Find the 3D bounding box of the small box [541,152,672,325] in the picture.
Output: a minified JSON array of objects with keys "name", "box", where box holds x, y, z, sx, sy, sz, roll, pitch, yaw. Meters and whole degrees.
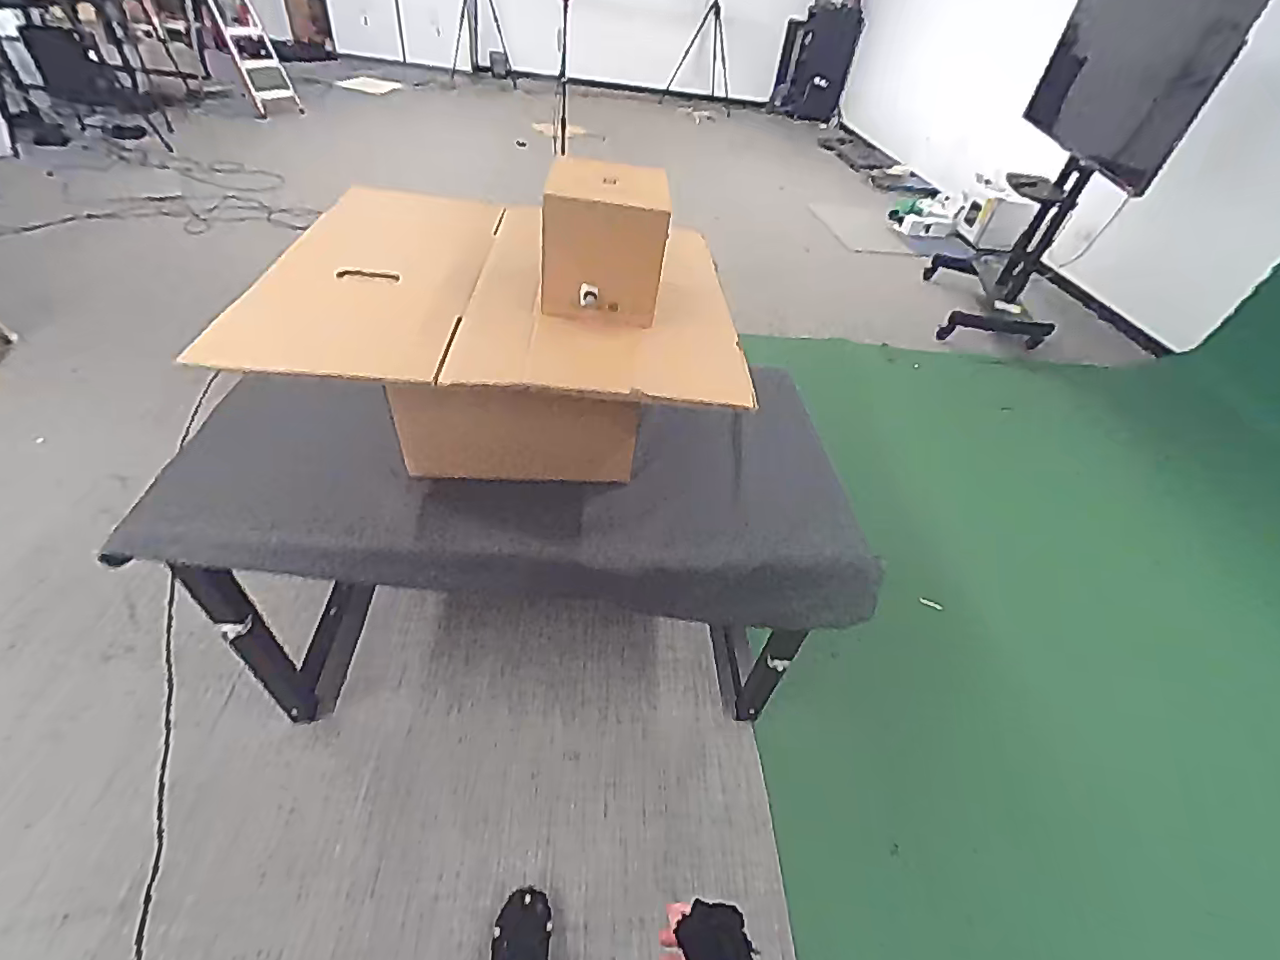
[{"name":"small box","box":[-0.053,-0.349,0.784,0.168,0.176,0.179,4,45,-6]}]
